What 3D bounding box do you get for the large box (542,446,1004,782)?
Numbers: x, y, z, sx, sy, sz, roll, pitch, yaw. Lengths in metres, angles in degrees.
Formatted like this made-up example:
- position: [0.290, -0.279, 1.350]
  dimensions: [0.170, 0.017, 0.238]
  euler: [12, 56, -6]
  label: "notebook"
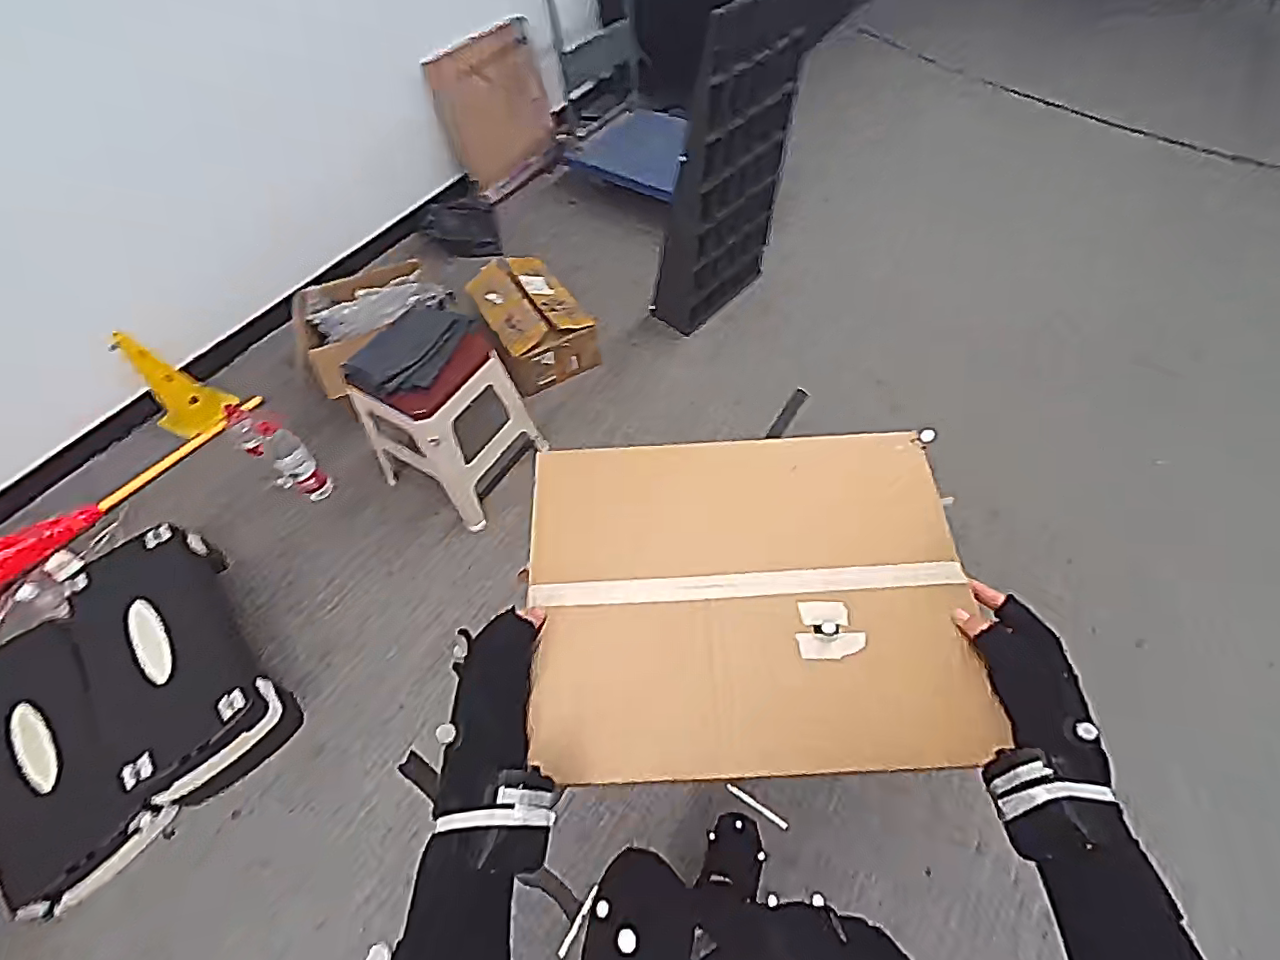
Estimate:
- position: [0.110, 0.176, 0.657]
  dimensions: [0.408, 0.320, 0.320]
  euler: [-2, 64, 1]
  label: "large box"
